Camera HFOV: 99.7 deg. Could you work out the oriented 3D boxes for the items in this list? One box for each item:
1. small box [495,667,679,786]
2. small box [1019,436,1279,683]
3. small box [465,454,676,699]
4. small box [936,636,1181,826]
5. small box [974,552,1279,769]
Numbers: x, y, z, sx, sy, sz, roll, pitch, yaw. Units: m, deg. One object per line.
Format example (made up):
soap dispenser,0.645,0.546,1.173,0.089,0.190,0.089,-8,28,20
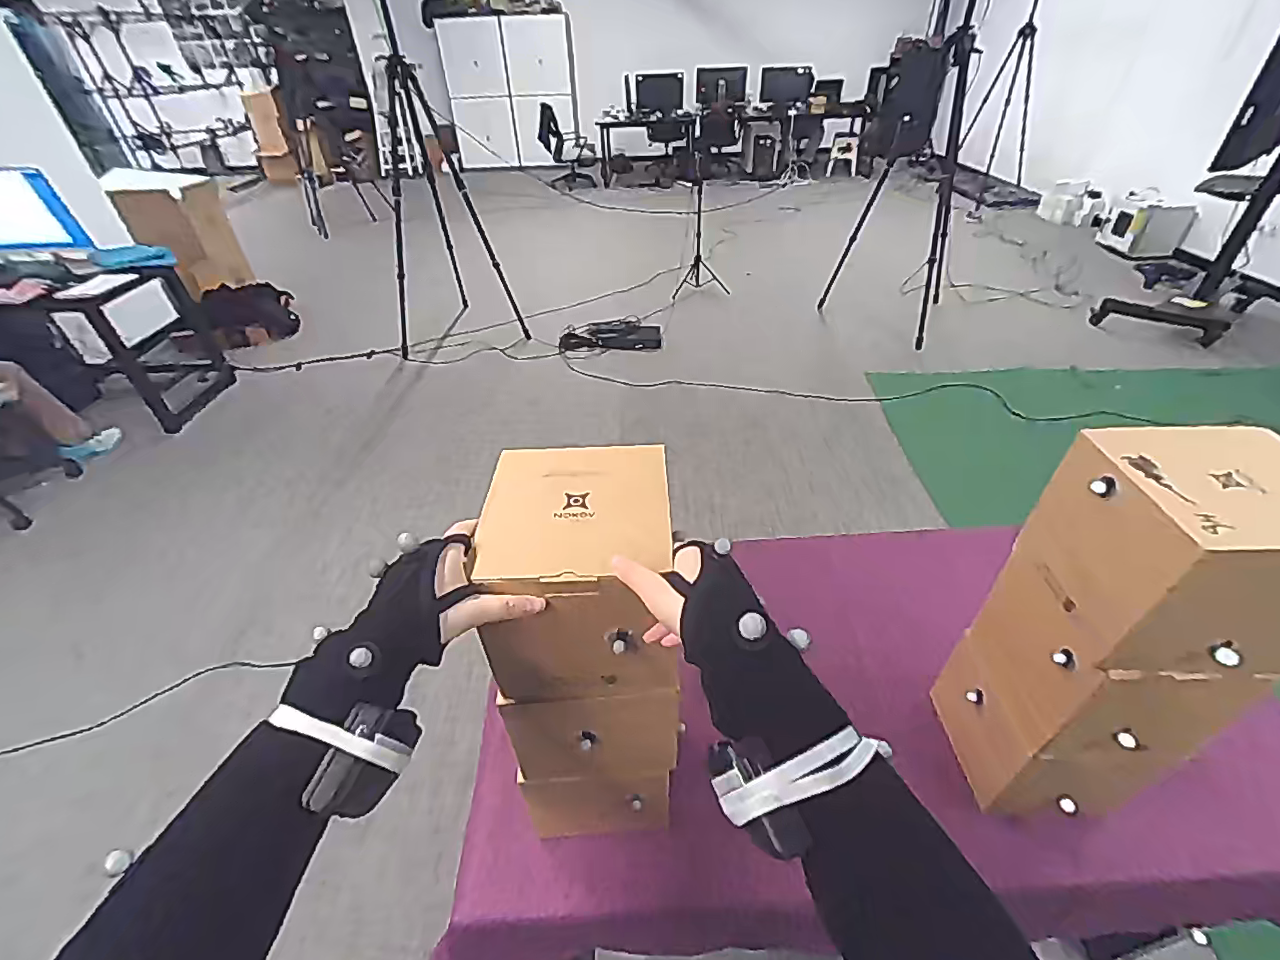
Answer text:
small box,-0.052,0.226,0.618,0.179,0.176,0.168,-4,38,-2
small box,0.517,0.075,0.515,0.179,0.176,0.168,1,39,3
small box,-0.051,0.094,0.523,0.168,0.176,0.179,-1,38,0
small box,0.527,0.330,0.721,0.168,0.176,0.179,-2,39,2
small box,0.525,0.203,0.619,0.168,0.176,0.179,-1,39,2
